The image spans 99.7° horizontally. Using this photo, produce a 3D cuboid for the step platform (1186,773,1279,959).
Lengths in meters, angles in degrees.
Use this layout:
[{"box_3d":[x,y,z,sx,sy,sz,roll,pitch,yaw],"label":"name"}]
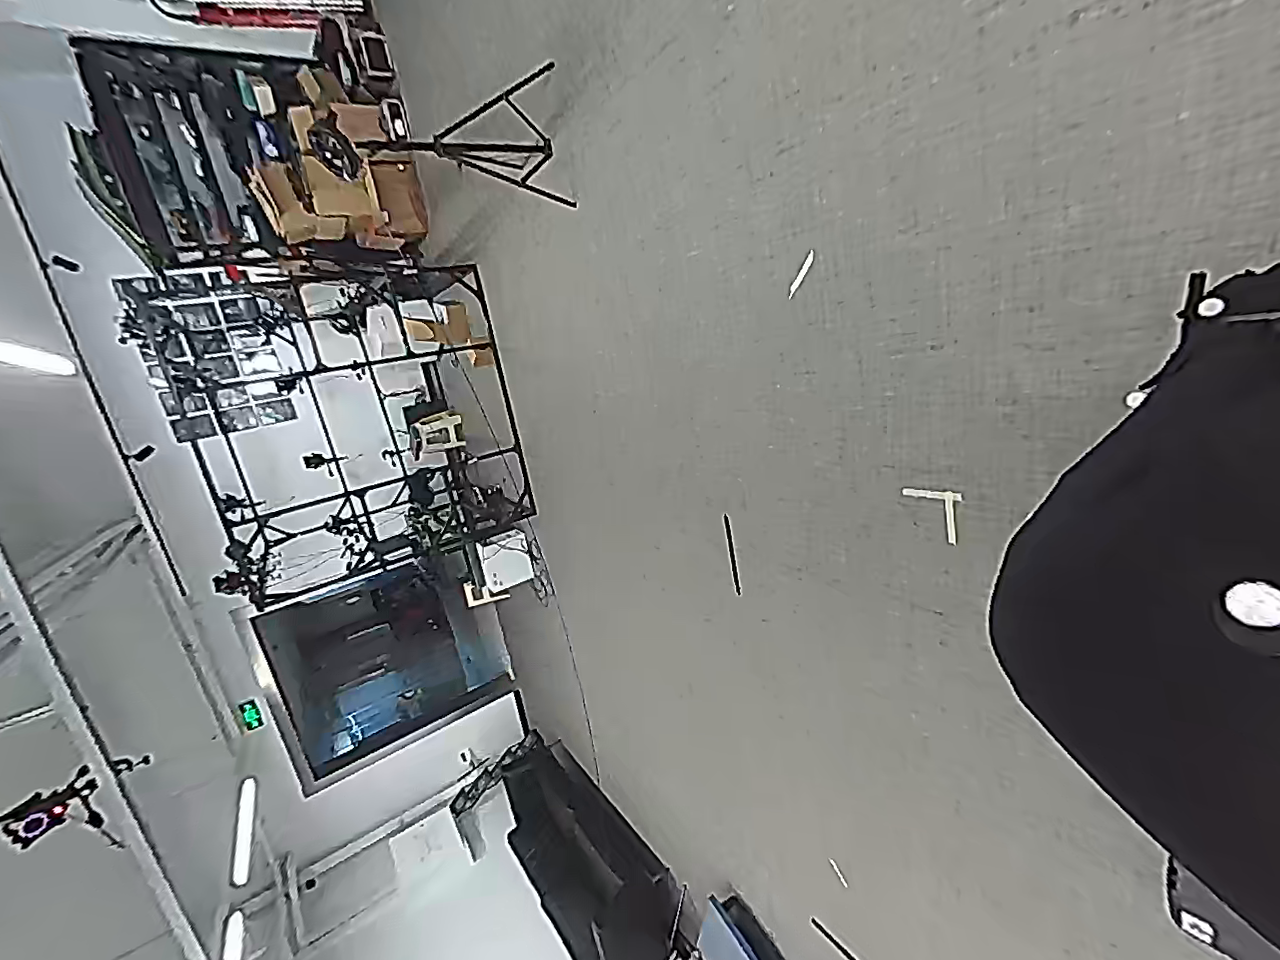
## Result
[{"box_3d":[1.412,0.827,0.915,0.684,0.204,0.286,11,116,58],"label":"step platform"}]
